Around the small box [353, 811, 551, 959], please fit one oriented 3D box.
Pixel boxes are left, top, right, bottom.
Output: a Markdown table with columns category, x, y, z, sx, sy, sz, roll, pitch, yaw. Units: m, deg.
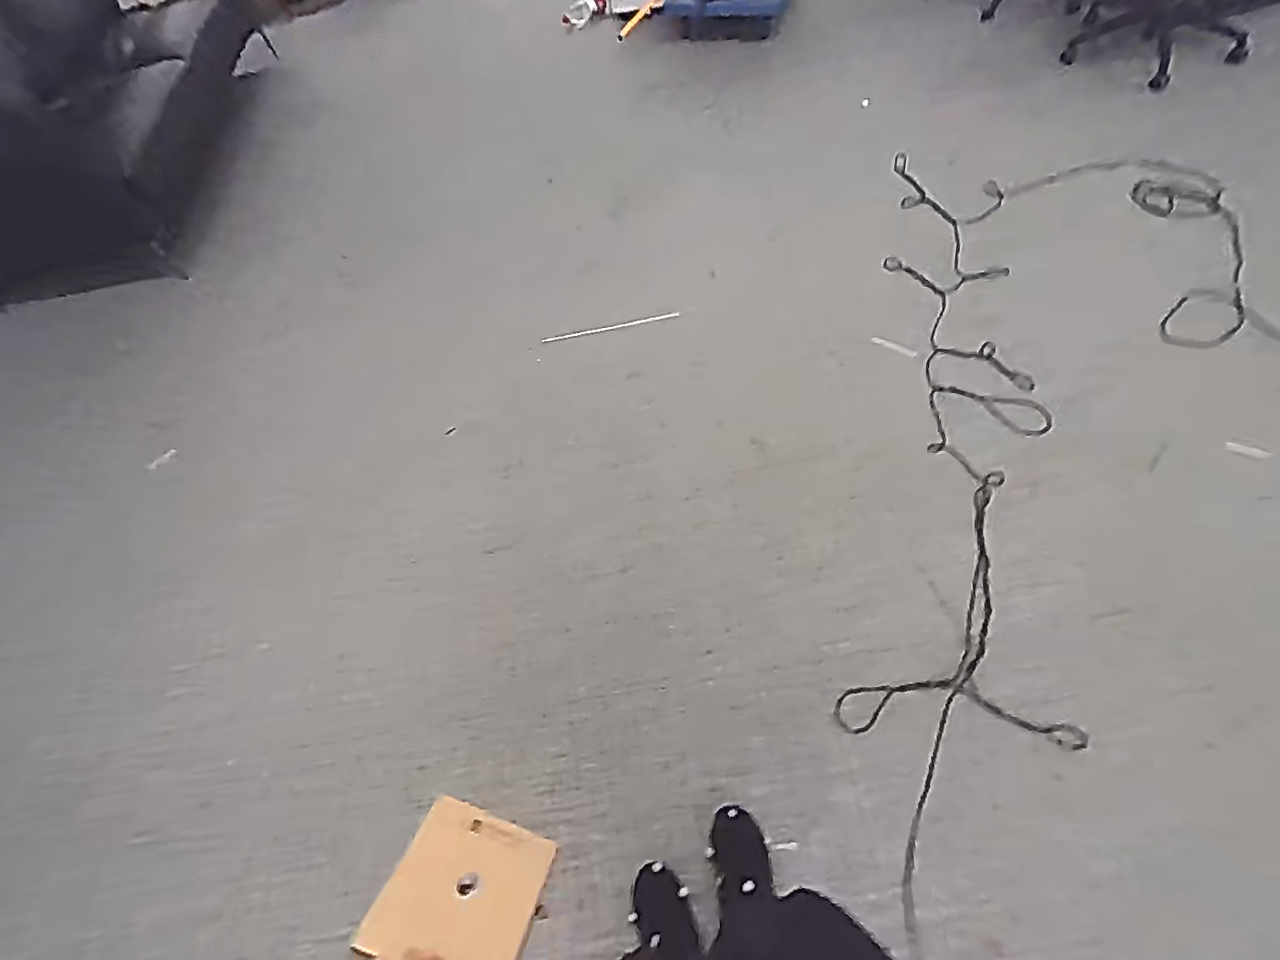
| category | x | y | z | sx | sy | sz | roll | pitch | yaw |
| --- | --- | --- | --- | --- | --- | --- | --- | --- | --- |
| small box | -0.218 | 0.541 | 0.645 | 0.168 | 0.179 | 0.176 | 18 | 28 | 5 |
